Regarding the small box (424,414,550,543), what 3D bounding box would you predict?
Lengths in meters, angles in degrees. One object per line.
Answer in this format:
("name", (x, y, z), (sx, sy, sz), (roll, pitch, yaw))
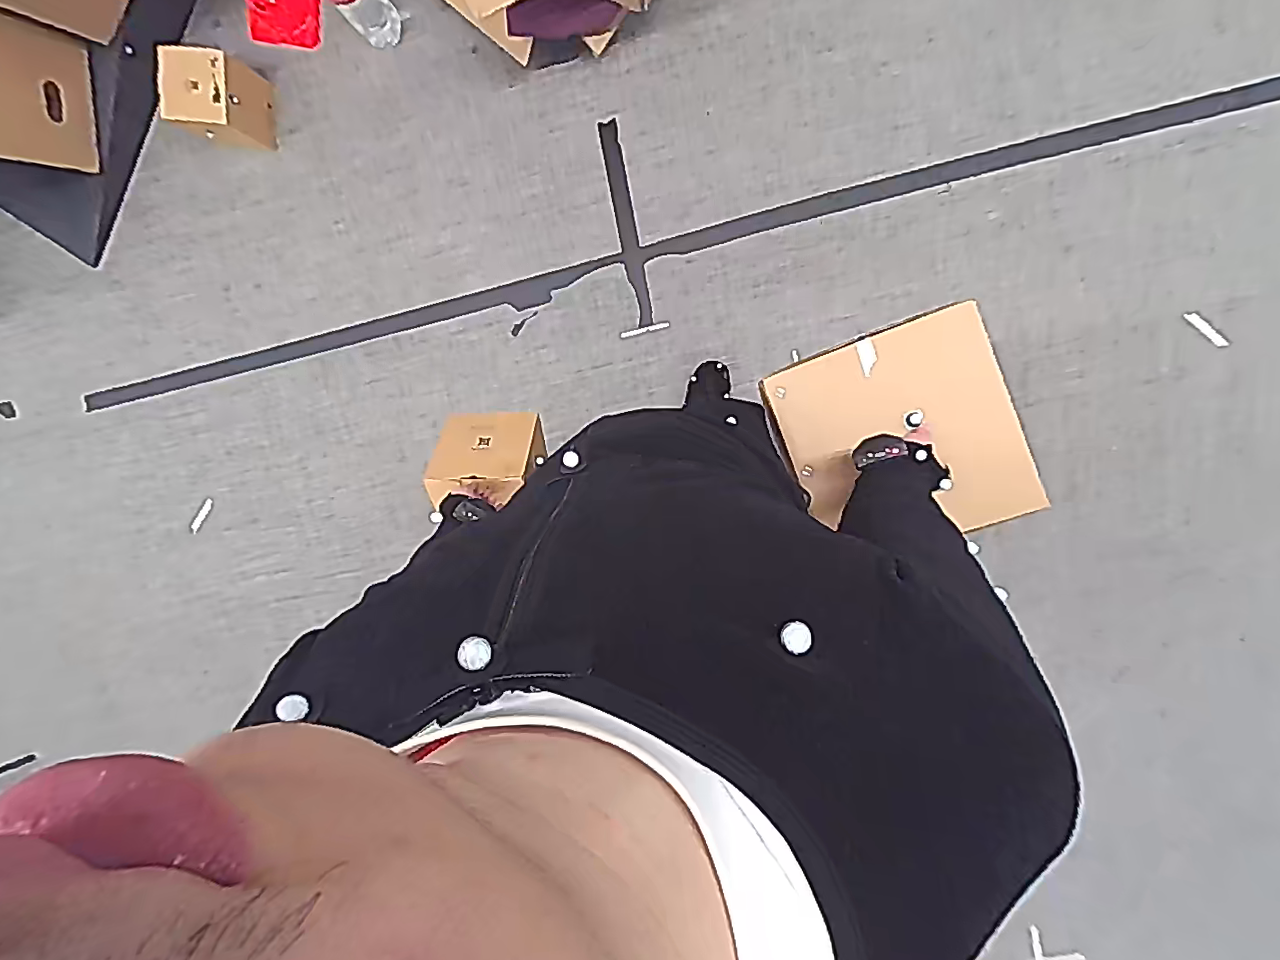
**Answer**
("small box", (-0.264, 0.000, 0.984), (0.168, 0.179, 0.176), (-1, 134, 2))
